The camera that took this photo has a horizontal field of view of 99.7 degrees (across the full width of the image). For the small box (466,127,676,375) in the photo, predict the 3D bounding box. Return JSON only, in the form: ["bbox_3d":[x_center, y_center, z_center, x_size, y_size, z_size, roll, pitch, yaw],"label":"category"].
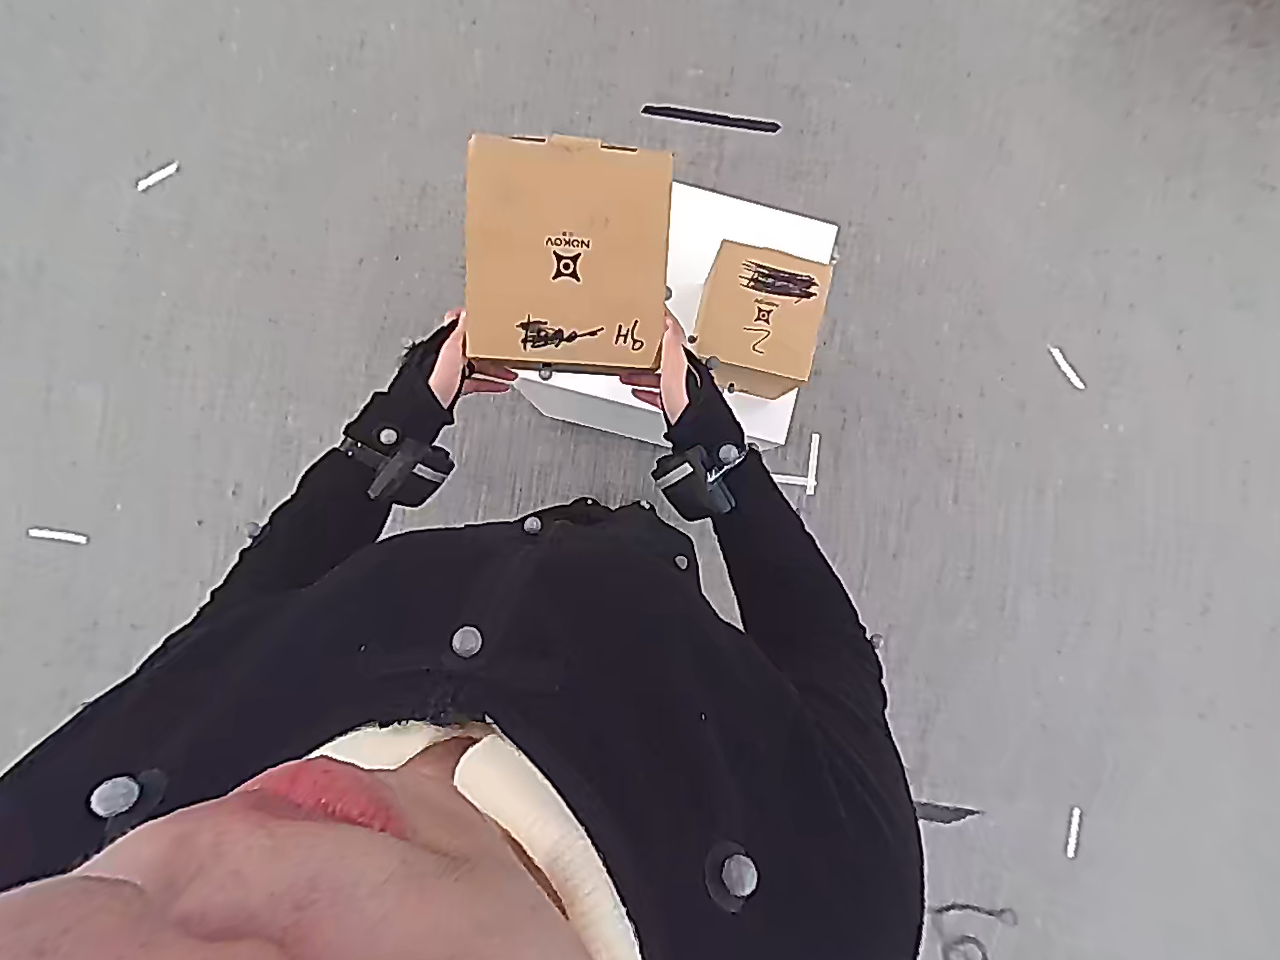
[{"bbox_3d":[-0.063,-0.199,0.521,0.168,0.176,0.179,3,98,-4],"label":"small box"}]
